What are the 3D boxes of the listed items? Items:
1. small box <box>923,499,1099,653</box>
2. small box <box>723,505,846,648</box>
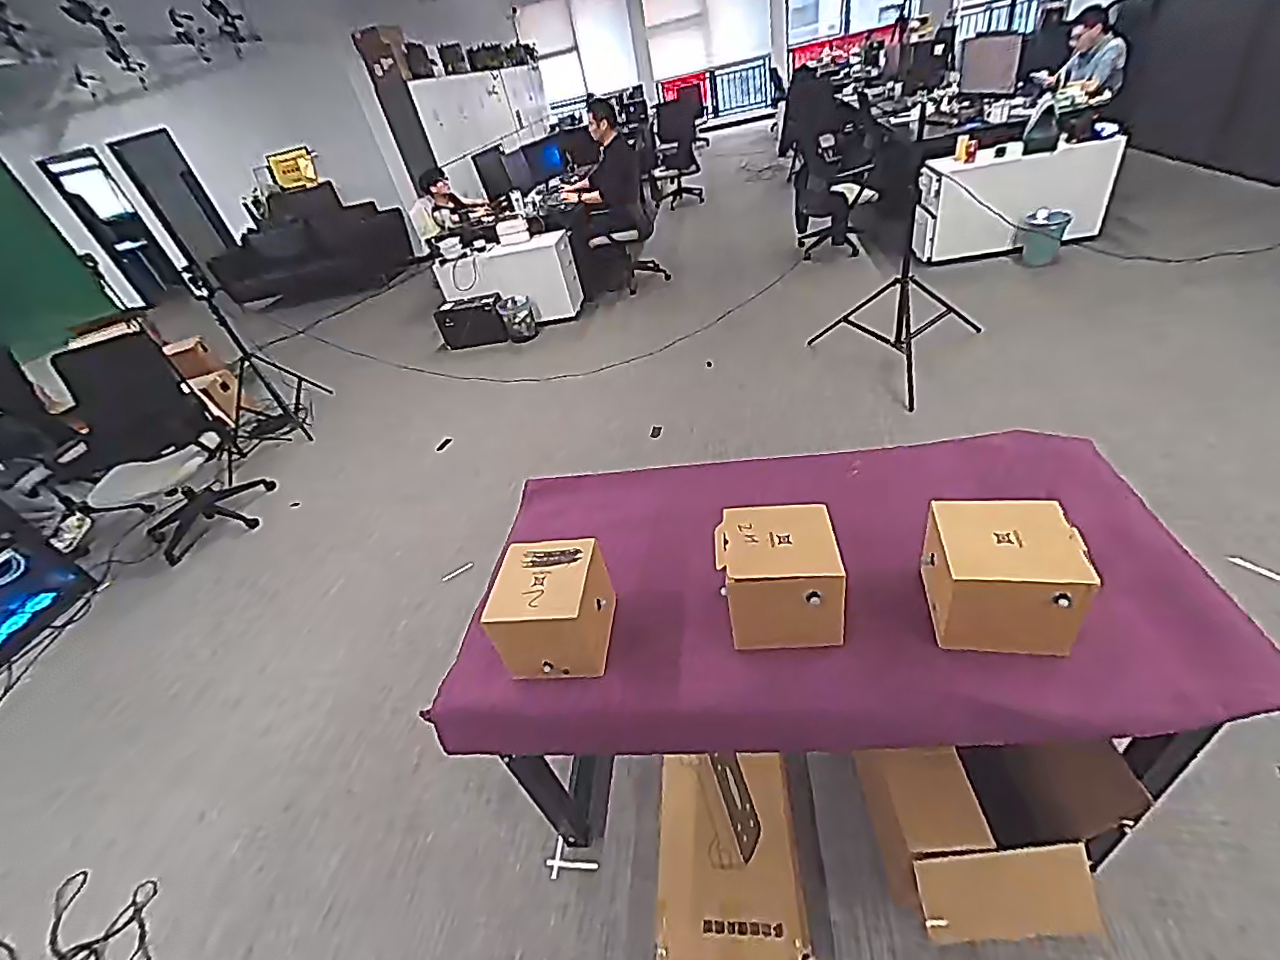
[{"bbox_3d":[0.544,0.146,0.827,0.179,0.176,0.168,-1,39,16],"label":"small box"},{"bbox_3d":[0.236,0.163,0.905,0.179,0.176,0.168,-6,35,11],"label":"small box"}]
